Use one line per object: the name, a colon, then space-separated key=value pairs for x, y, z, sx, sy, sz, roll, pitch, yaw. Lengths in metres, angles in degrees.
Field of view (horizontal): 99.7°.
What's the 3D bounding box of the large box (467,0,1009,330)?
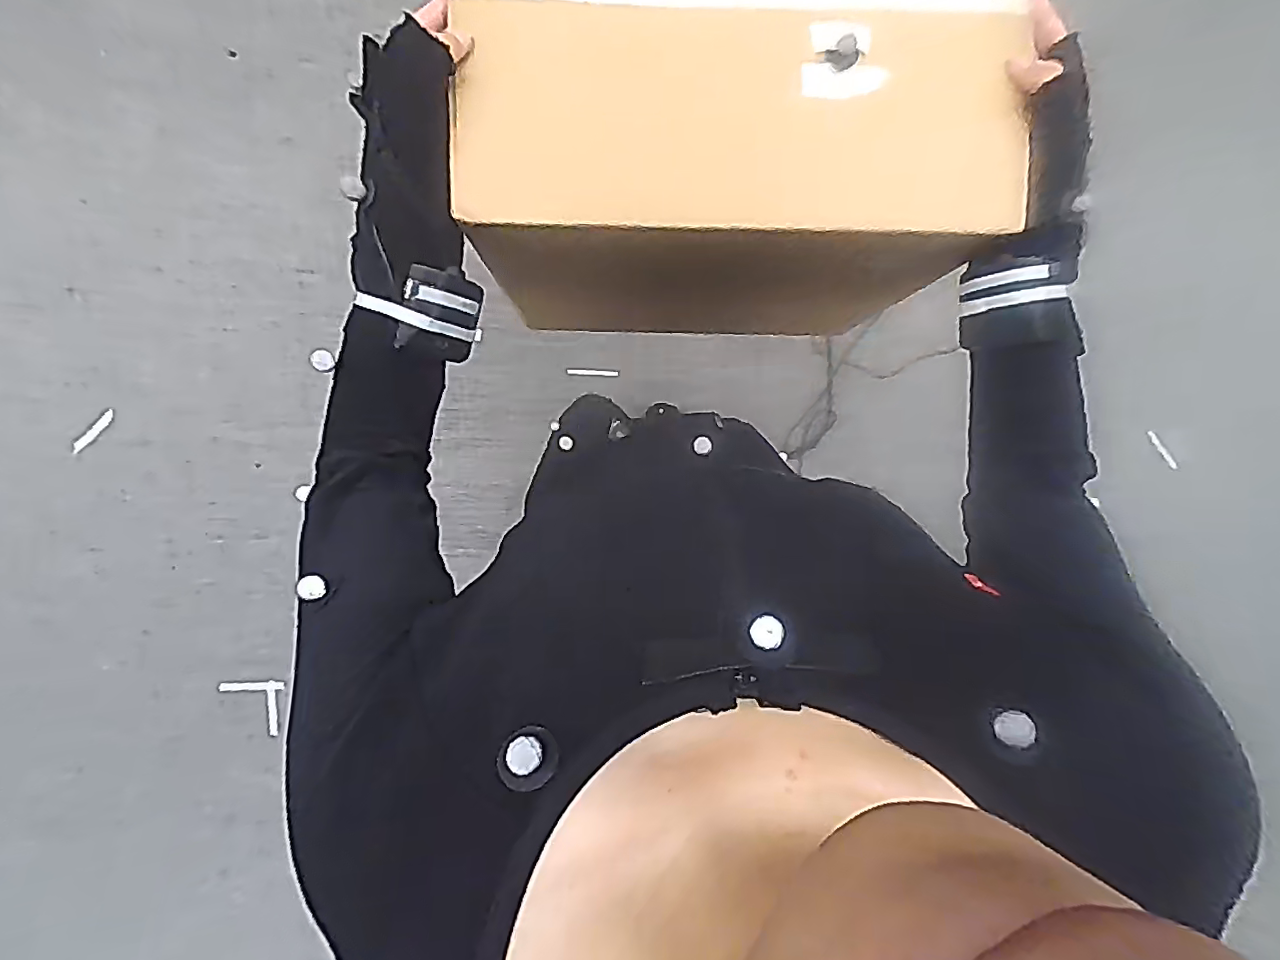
large box: x=0.066 y=-0.344 z=0.541 sx=0.408 sy=0.320 sz=0.320 roll=0 pitch=92 yaw=-2
